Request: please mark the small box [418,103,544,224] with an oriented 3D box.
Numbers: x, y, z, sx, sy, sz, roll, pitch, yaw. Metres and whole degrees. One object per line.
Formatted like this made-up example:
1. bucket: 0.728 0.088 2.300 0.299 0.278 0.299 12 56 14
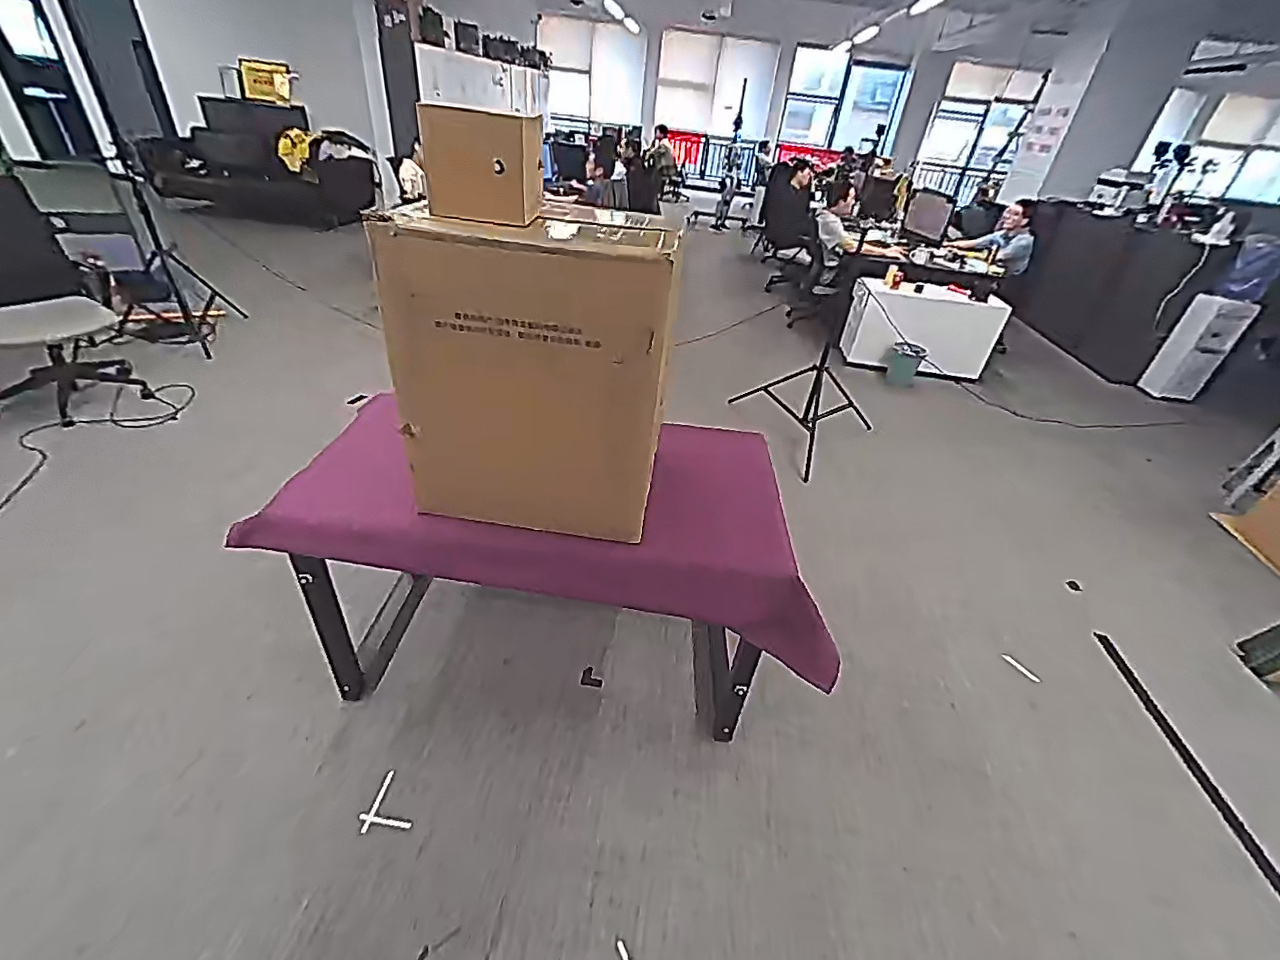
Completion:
1. small box: -0.276 -0.572 0.981 0.179 0.176 0.168 6 34 -1
